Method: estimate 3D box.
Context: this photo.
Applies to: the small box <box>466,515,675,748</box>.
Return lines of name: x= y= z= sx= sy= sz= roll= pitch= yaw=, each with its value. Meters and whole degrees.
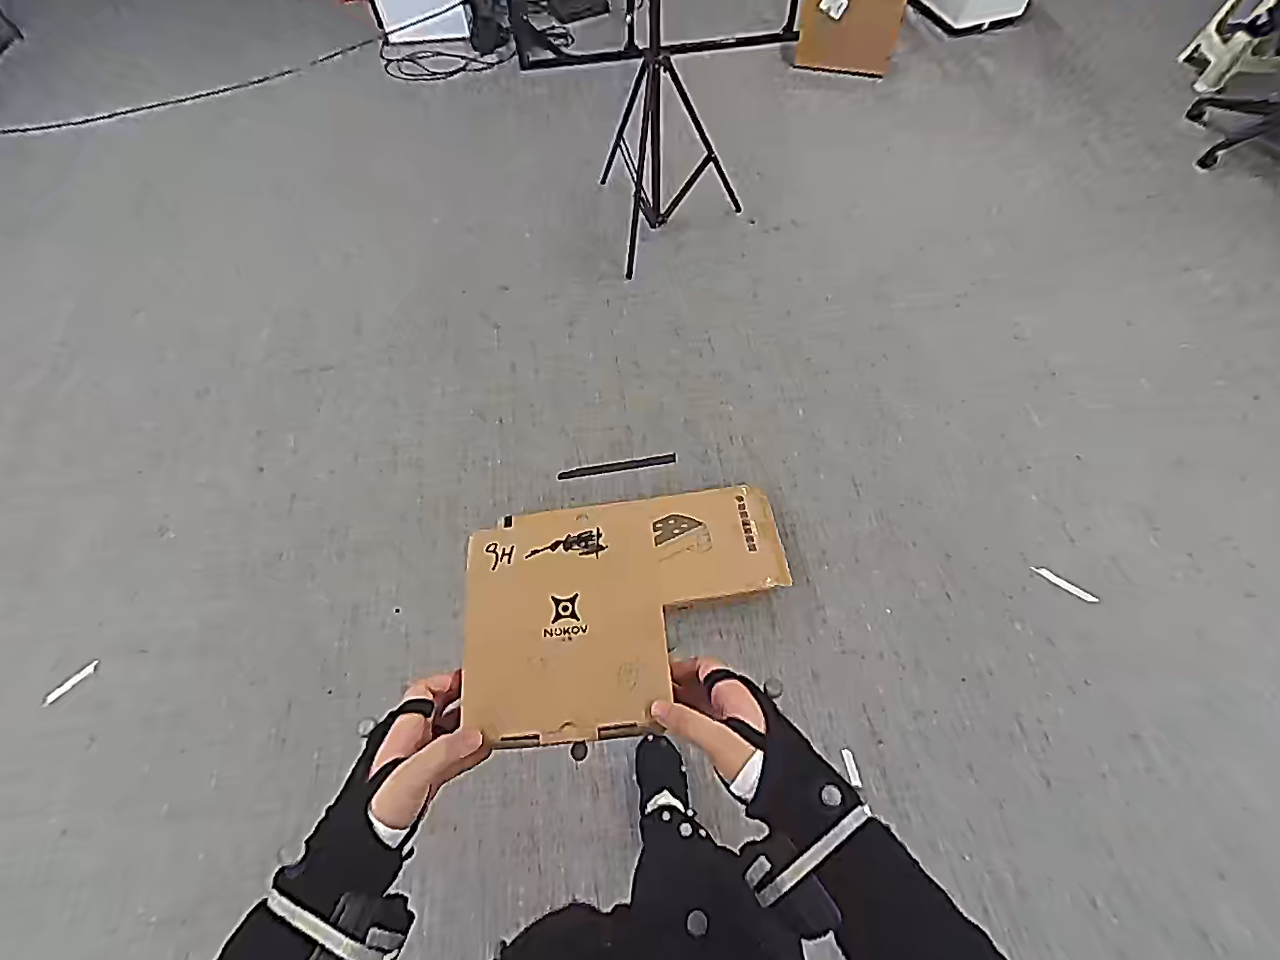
small box: x=-0.060 y=0.151 z=0.521 sx=0.168 sy=0.176 sz=0.179 roll=-6 pitch=64 yaw=-3
